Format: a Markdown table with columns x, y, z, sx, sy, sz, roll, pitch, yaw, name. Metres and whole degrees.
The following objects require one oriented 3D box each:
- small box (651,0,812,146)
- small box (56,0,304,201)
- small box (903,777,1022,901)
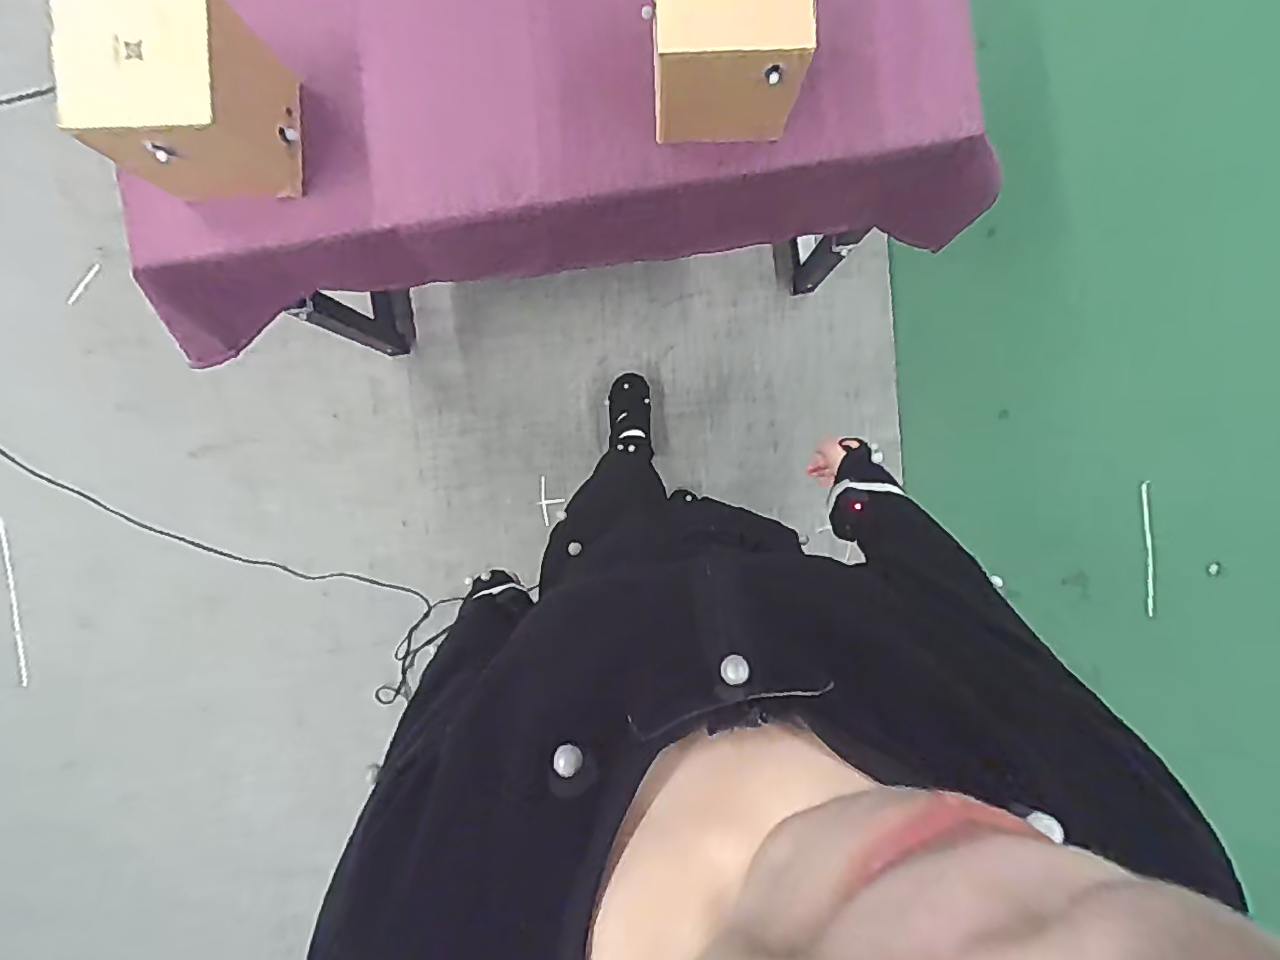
| x | y | z | sx | sy | sz | roll | pitch | yaw | name |
| --- | --- | --- | --- | --- | --- | --- | --- | --- | --- |
| 0.101 | -0.544 | 0.671 | 0.179 | 0.176 | 0.168 | -1 | 91 | 0 | small box |
| -0.560 | -0.471 | 0.679 | 0.179 | 0.176 | 0.168 | -1 | 92 | 0 | small box |
| 0.838 | 0.936 | 1.428 | 0.168 | 0.176 | 0.179 | 41 | 93 | -1 | small box |
